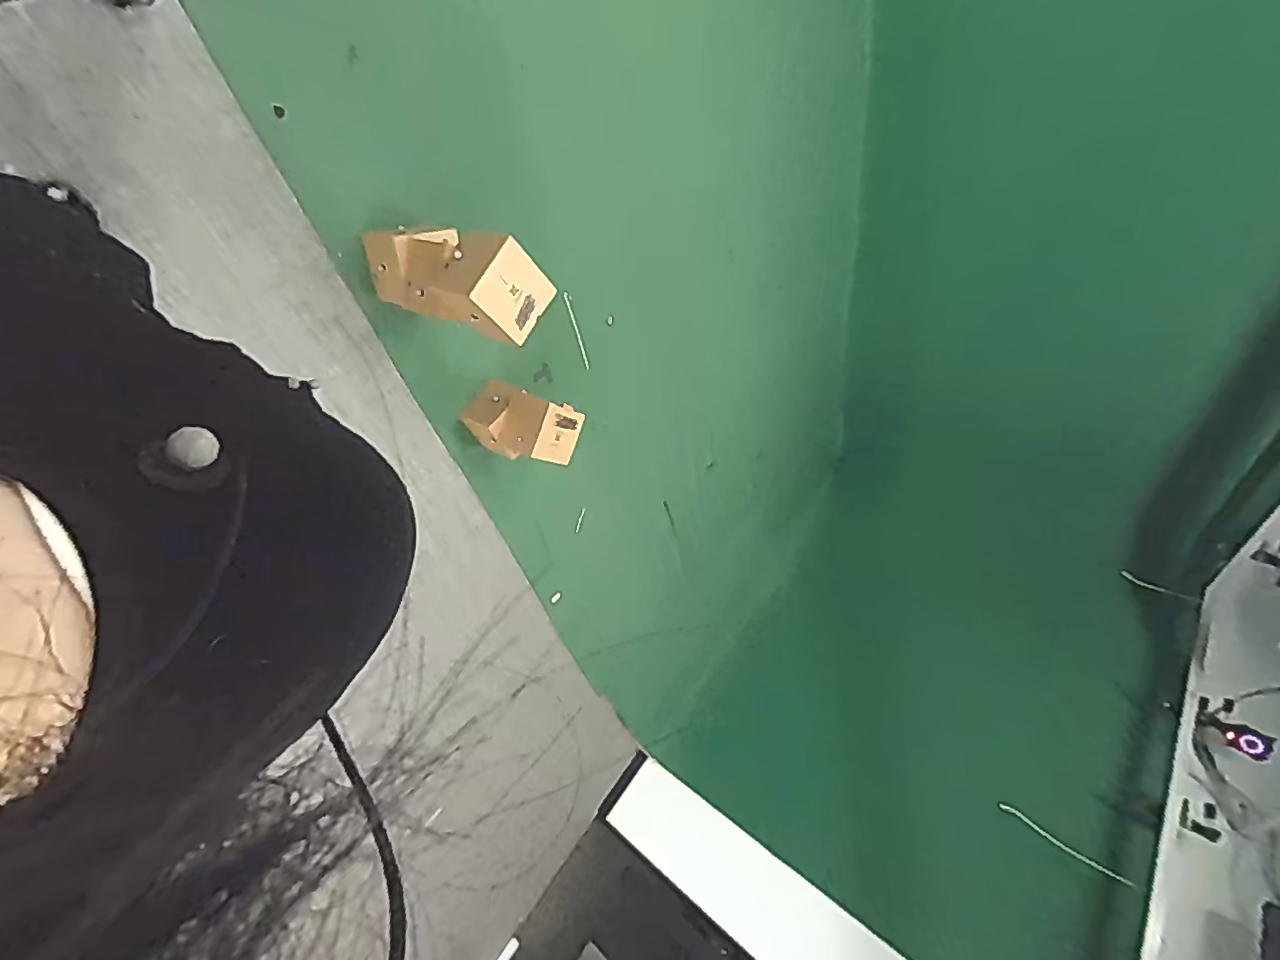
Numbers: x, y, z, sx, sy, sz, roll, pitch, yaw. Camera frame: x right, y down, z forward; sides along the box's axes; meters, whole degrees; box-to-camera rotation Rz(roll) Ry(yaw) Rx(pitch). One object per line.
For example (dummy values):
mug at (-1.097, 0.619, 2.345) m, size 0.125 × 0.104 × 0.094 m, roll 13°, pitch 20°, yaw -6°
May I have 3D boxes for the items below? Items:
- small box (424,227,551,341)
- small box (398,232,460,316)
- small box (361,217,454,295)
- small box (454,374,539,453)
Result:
small box at (-0.344, -0.448, 1.226) m, size 0.168 × 0.176 × 0.179 m, roll -59°, pitch 145°, yaw -8°
small box at (-0.468, -0.497, 1.324) m, size 0.179 × 0.176 × 0.168 m, roll -8°, pitch 118°, yaw -52°
small box at (-0.593, -0.578, 1.394) m, size 0.179 × 0.176 × 0.168 m, roll -32°, pitch 135°, yaw -40°
small box at (-0.471, -0.223, 1.777) m, size 0.179 × 0.176 × 0.168 m, roll -52°, pitch 144°, yaw -21°
